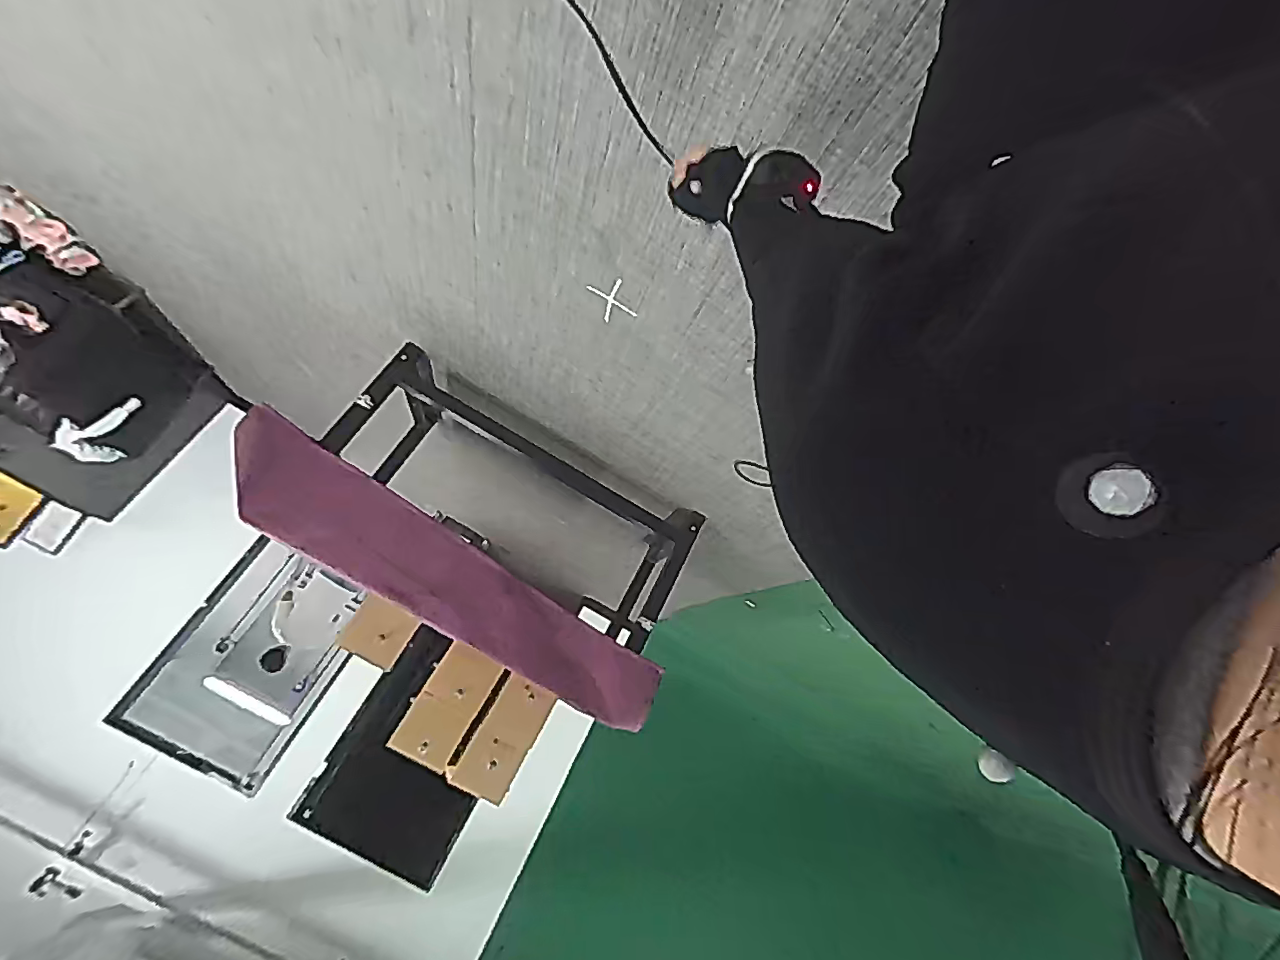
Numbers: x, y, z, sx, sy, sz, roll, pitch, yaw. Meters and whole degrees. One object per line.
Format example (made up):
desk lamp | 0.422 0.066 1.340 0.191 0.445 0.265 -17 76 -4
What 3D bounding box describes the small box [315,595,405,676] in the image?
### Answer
small box | -0.820 0.457 1.603 0.179 0.176 0.168 34 155 -12
